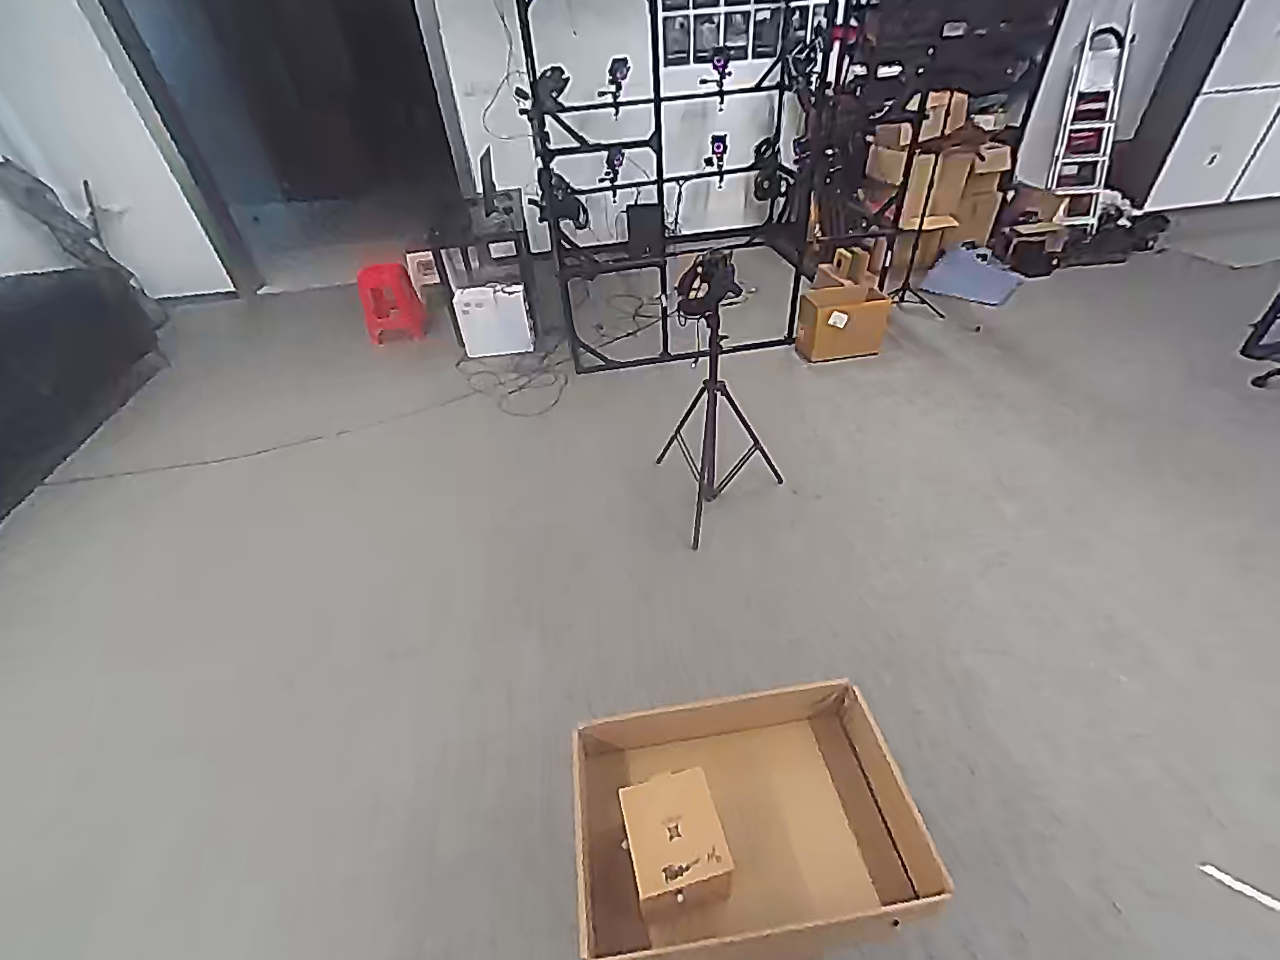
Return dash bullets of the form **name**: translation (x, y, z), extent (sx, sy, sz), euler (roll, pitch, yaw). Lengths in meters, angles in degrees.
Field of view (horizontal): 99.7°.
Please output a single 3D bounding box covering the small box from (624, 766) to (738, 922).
- **small box**: translation (0.072, 0.672, 1.002), extent (0.168, 0.176, 0.179), euler (-12, 40, -8)
